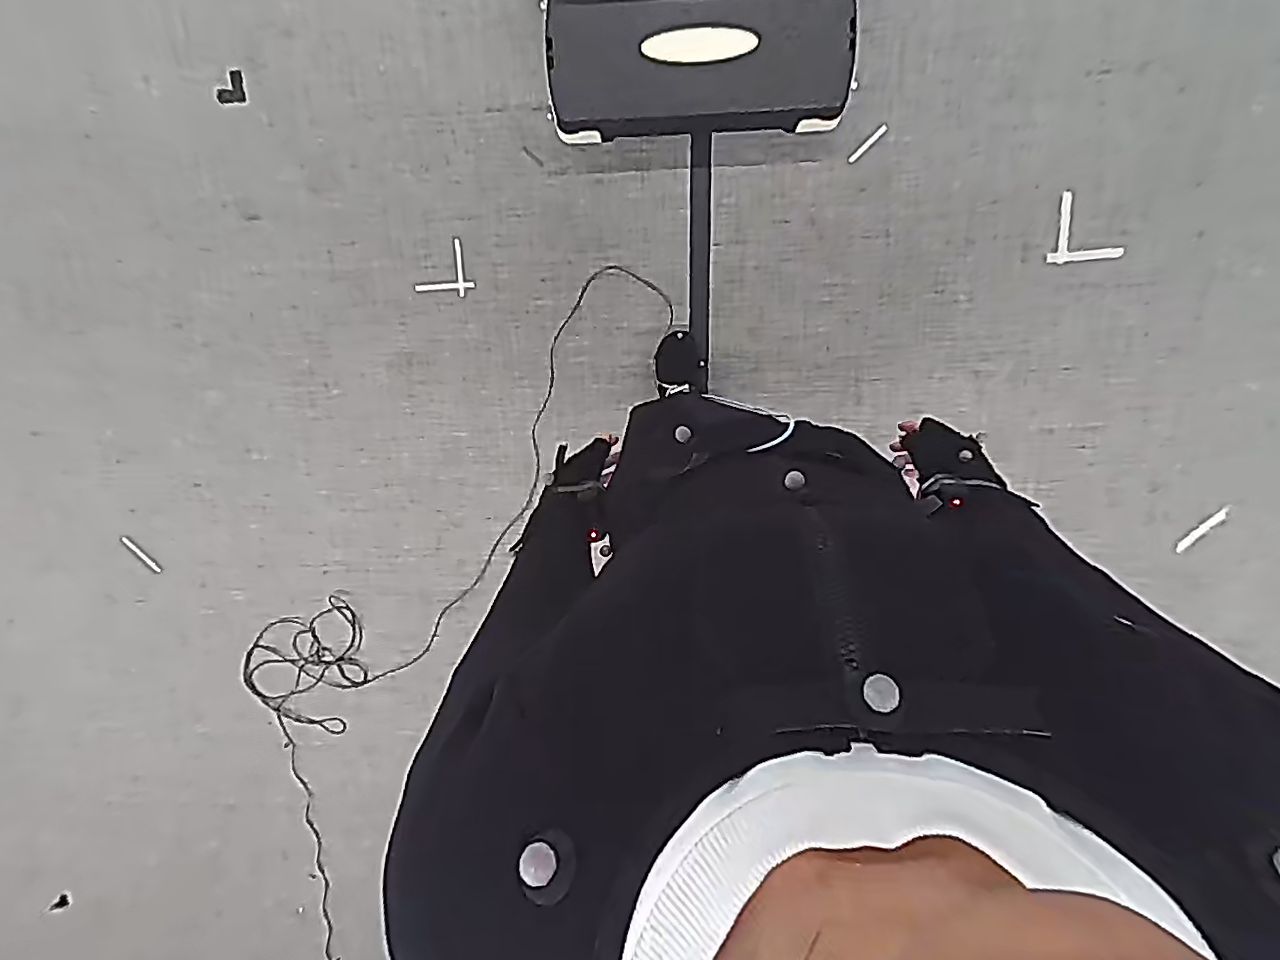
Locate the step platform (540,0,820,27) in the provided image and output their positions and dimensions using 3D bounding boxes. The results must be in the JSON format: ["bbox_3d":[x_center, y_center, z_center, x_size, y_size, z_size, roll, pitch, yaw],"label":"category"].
[{"bbox_3d":[0.096,-1.175,1.113,0.684,0.204,0.286,-2,102,2],"label":"step platform"}]
